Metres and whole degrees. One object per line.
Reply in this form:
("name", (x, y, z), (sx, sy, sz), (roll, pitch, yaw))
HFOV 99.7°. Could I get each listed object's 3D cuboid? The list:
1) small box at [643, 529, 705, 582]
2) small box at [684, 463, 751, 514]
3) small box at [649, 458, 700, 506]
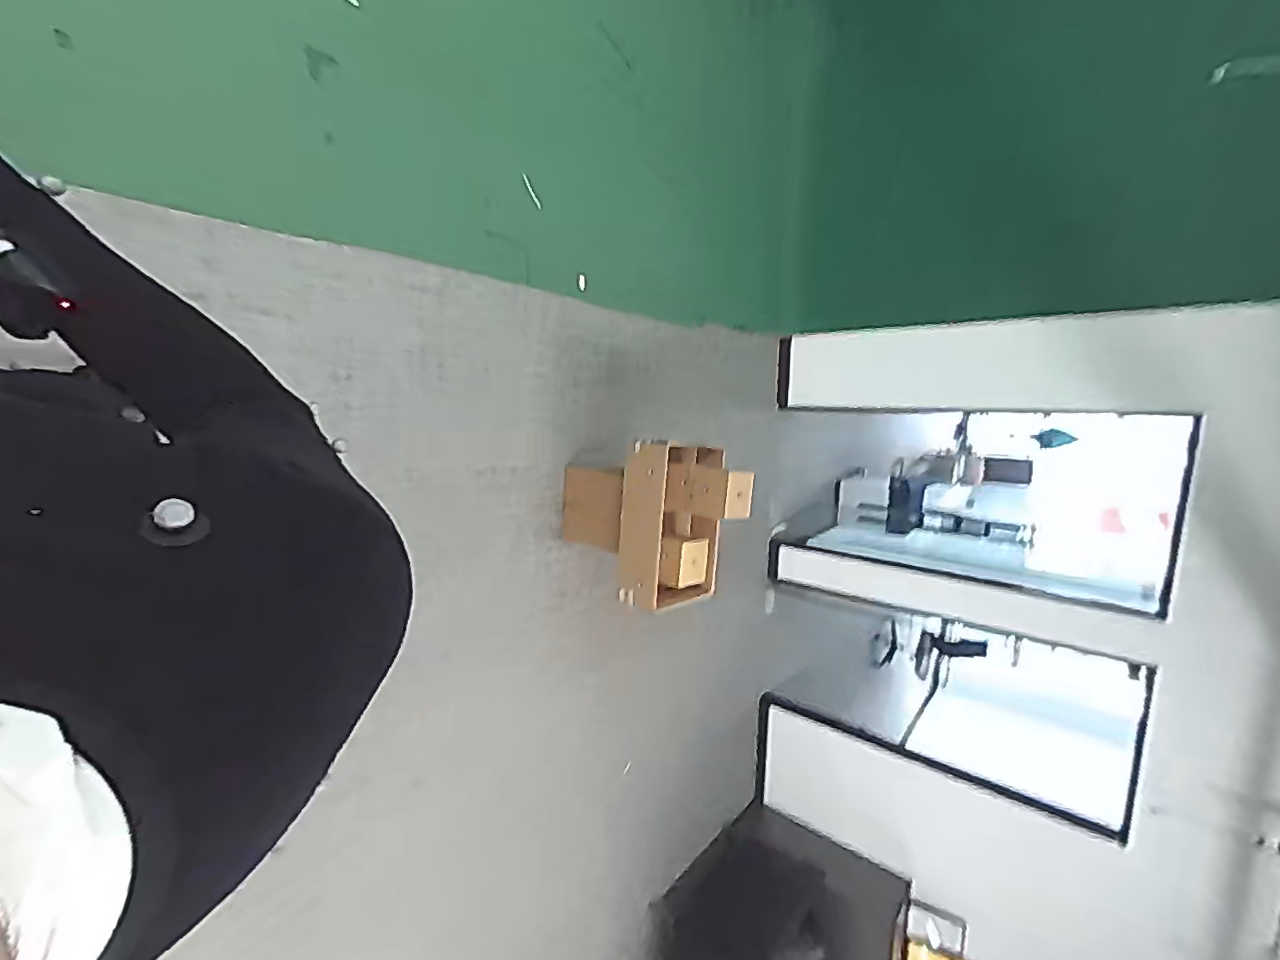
("small box", (0.130, 0.284, 2.076), (0.179, 0.176, 0.168), (-1, 97, -51))
("small box", (0.277, 0.029, 1.946), (0.179, 0.176, 0.168), (1, 96, -50))
("small box", (0.156, 0.007, 2.056), (0.179, 0.176, 0.168), (3, 93, -51))
